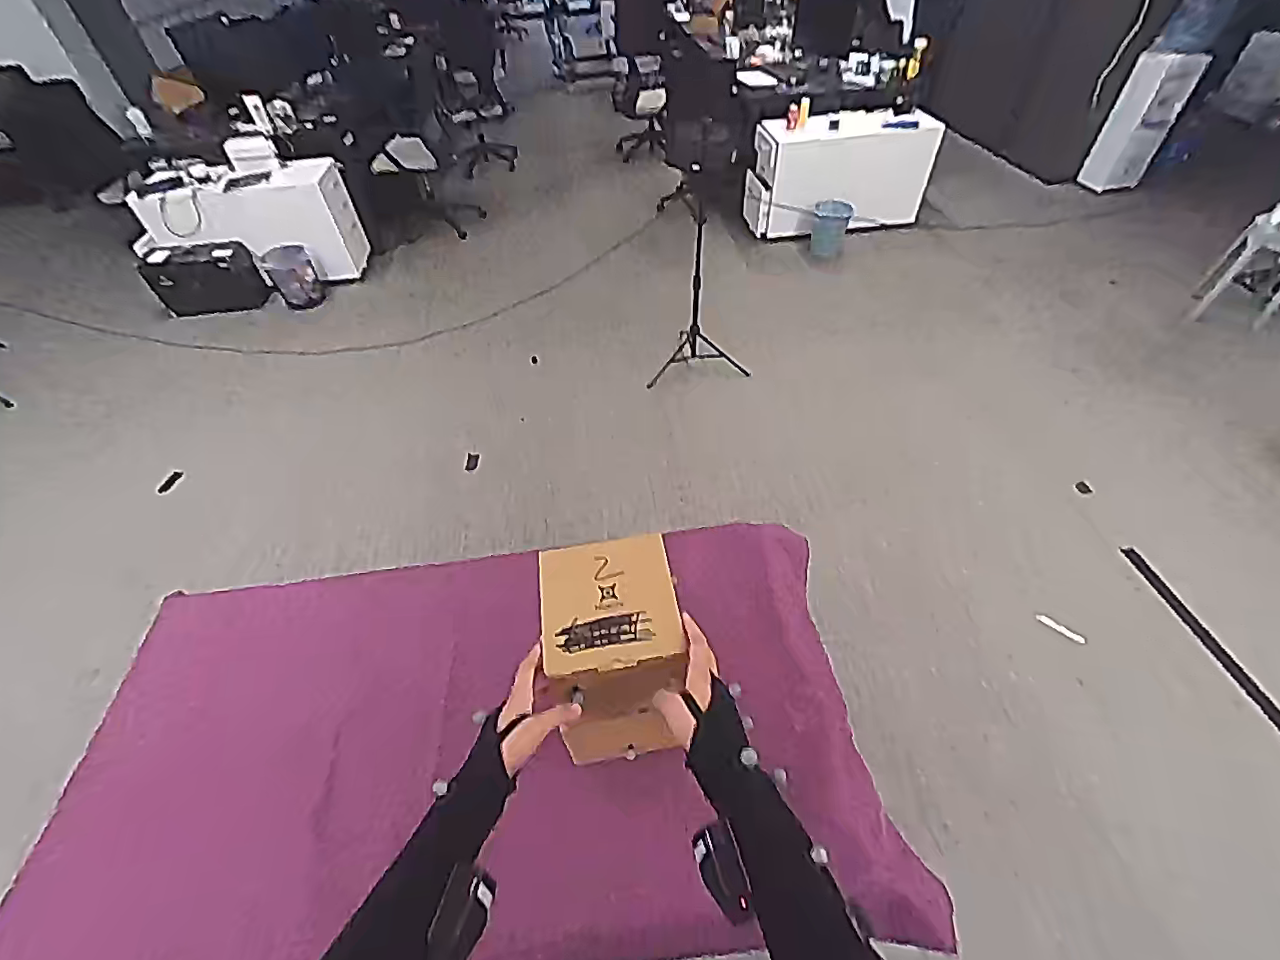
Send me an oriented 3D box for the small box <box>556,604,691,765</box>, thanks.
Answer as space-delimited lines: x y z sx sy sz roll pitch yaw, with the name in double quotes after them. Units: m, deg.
-0.028 0.314 0.827 0.179 0.176 0.168 -8 47 -5 "small box"
